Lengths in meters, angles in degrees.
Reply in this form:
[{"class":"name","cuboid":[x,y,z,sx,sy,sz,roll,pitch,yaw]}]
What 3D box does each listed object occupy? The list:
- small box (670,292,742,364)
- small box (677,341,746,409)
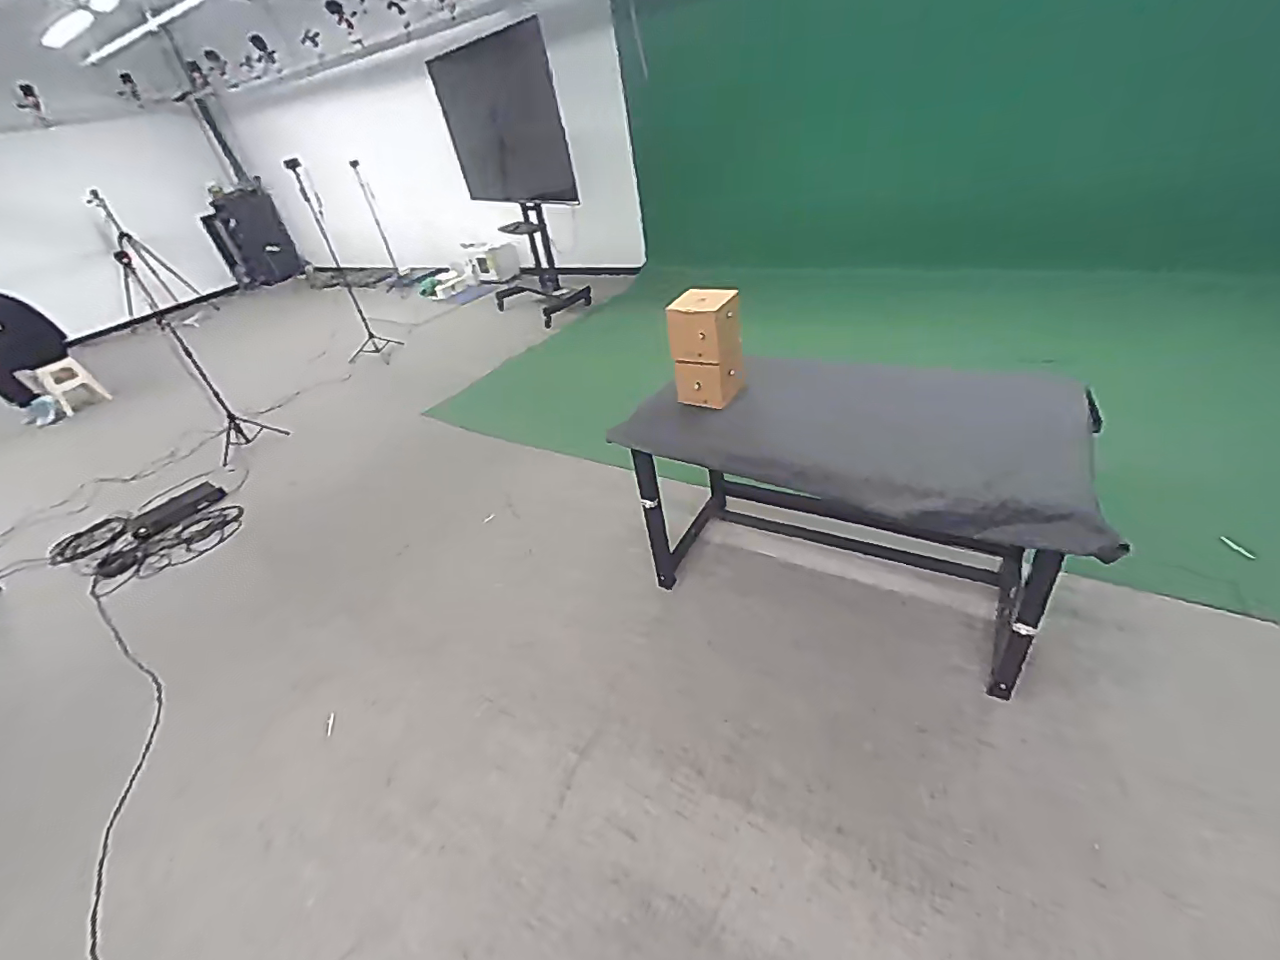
[{"class":"small box","cuboid":[0.214,-0.475,1.686,0.168,0.176,0.179,14,42,29]},{"class":"small box","cuboid":[0.245,-0.353,1.790,0.168,0.176,0.179,16,44,31]}]
